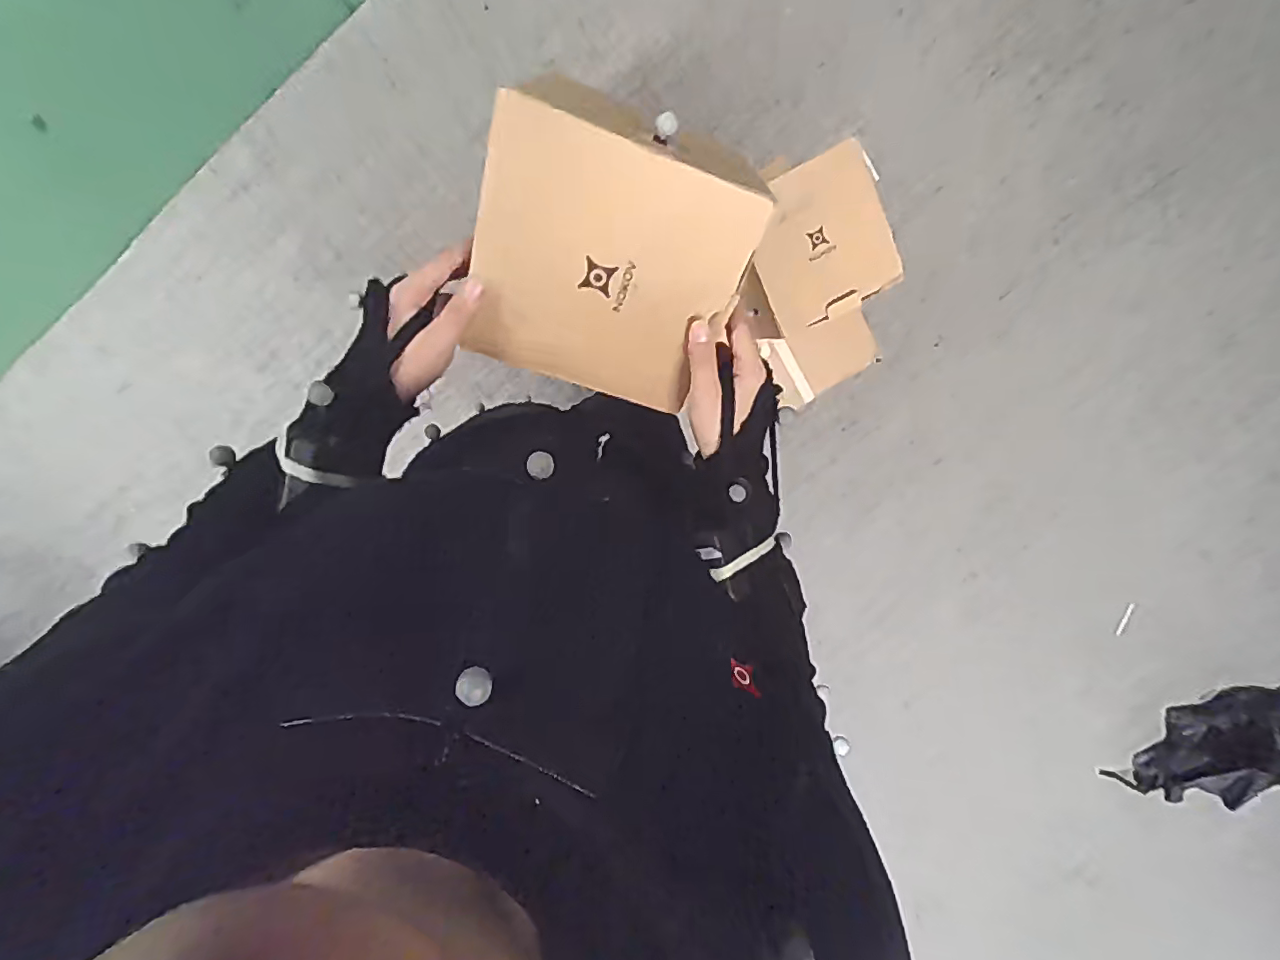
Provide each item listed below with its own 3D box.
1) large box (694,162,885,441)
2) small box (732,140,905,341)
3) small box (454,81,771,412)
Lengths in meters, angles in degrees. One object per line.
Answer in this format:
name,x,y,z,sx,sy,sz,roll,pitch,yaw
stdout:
large box,0.224,-0.349,1.131,0.320,0.320,0.408,-31,103,8
small box,0.212,-0.302,0.723,0.168,0.176,0.179,-27,102,5
small box,-0.026,-0.183,0.421,0.179,0.176,0.168,15,128,-11
